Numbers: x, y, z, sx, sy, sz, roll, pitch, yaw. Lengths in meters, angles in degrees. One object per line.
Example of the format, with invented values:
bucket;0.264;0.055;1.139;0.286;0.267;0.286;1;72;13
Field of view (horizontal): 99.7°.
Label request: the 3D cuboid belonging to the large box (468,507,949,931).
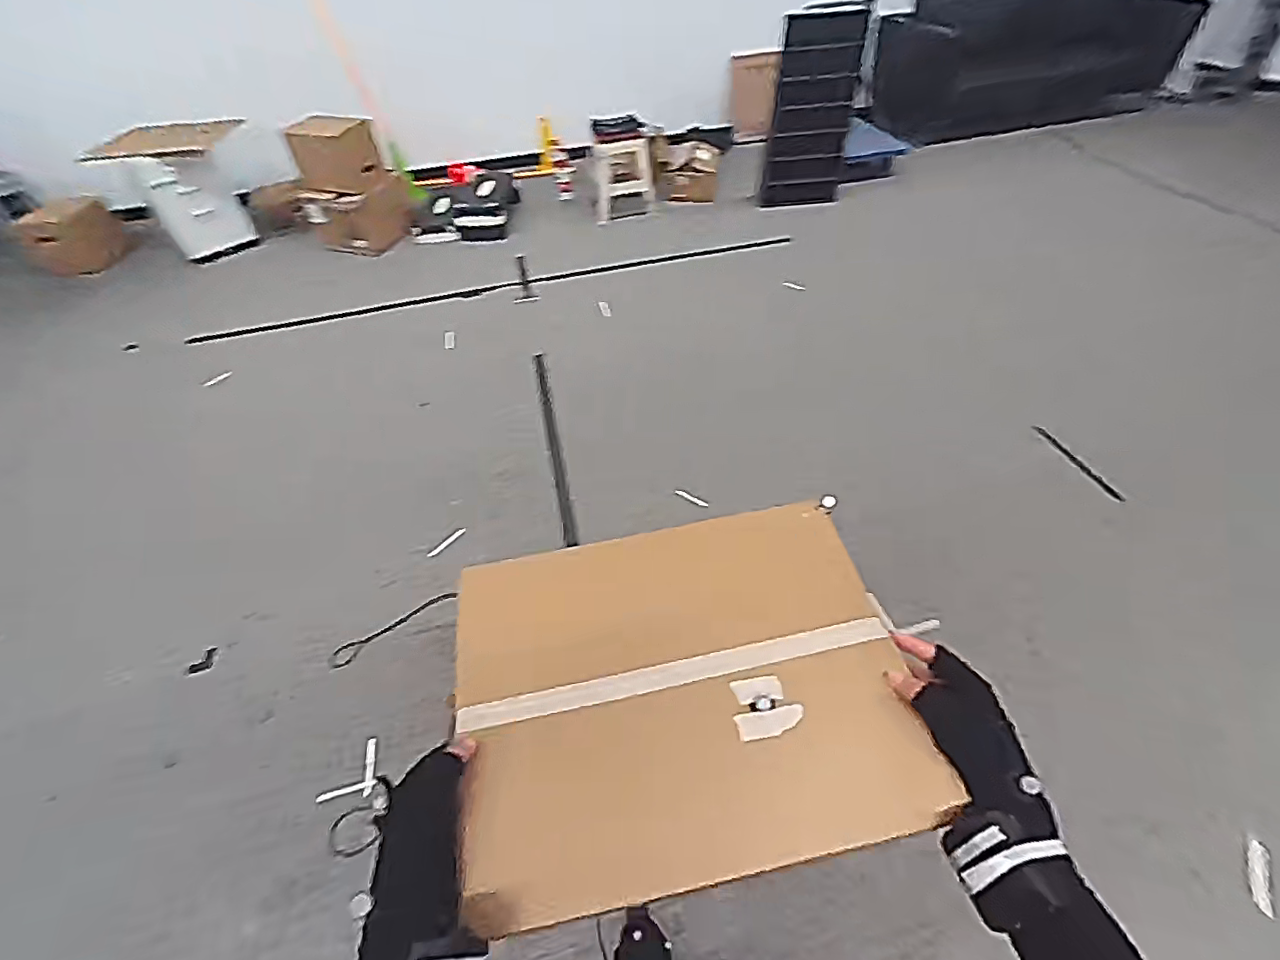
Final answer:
large box;0.042;0.278;0.637;0.408;0.320;0.320;-11;53;-5
